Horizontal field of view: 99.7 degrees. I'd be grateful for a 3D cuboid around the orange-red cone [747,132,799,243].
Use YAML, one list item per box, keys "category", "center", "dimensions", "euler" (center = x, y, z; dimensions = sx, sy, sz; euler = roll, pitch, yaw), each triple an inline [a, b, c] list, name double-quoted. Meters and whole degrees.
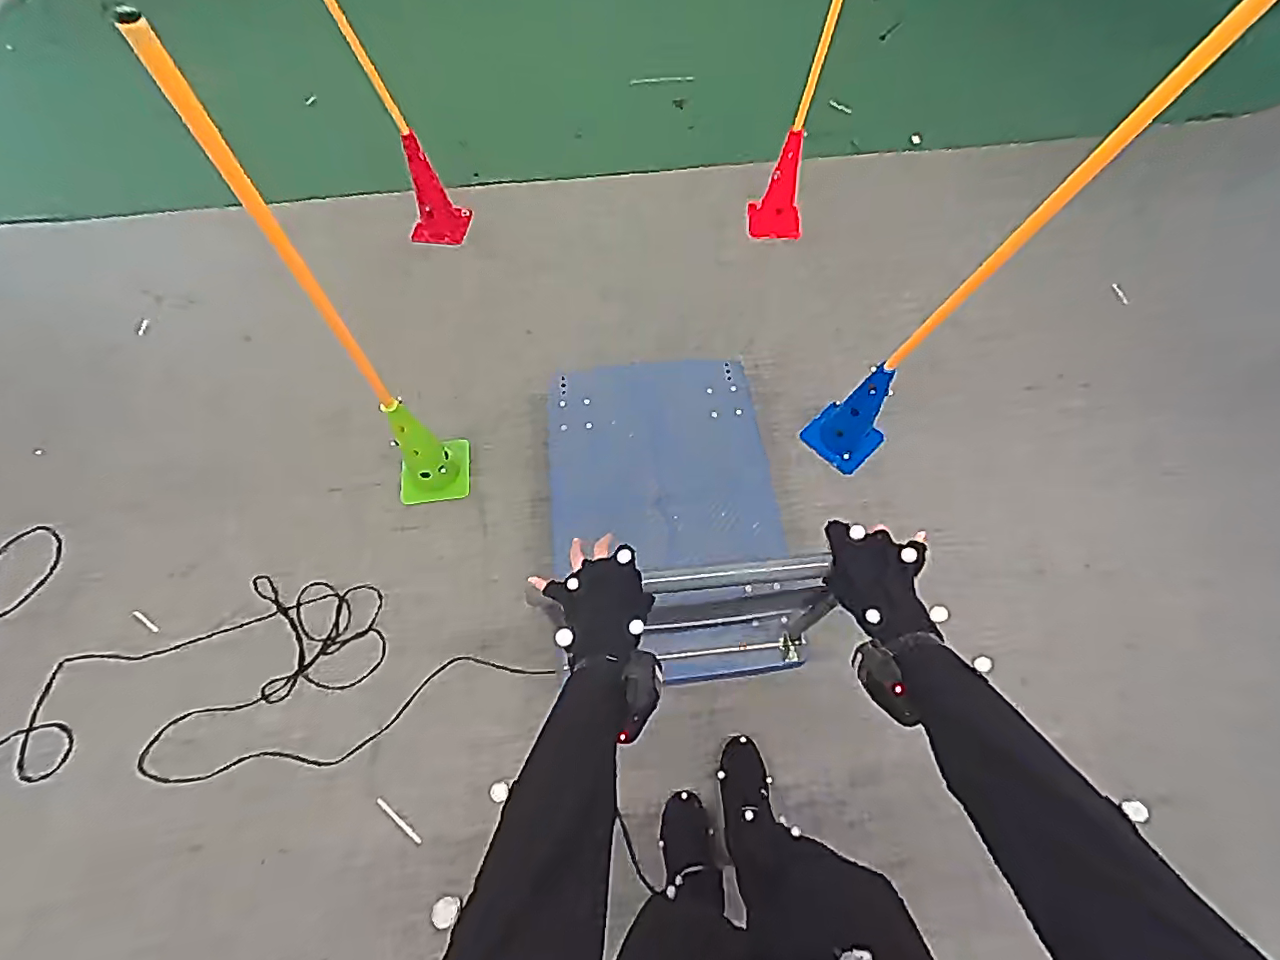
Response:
- category: "orange-red cone"
  center: [0.518, -1.074, 1.965]
  dimensions: [0.198, 0.360, 0.199]
  euler: [4, 64, 2]
